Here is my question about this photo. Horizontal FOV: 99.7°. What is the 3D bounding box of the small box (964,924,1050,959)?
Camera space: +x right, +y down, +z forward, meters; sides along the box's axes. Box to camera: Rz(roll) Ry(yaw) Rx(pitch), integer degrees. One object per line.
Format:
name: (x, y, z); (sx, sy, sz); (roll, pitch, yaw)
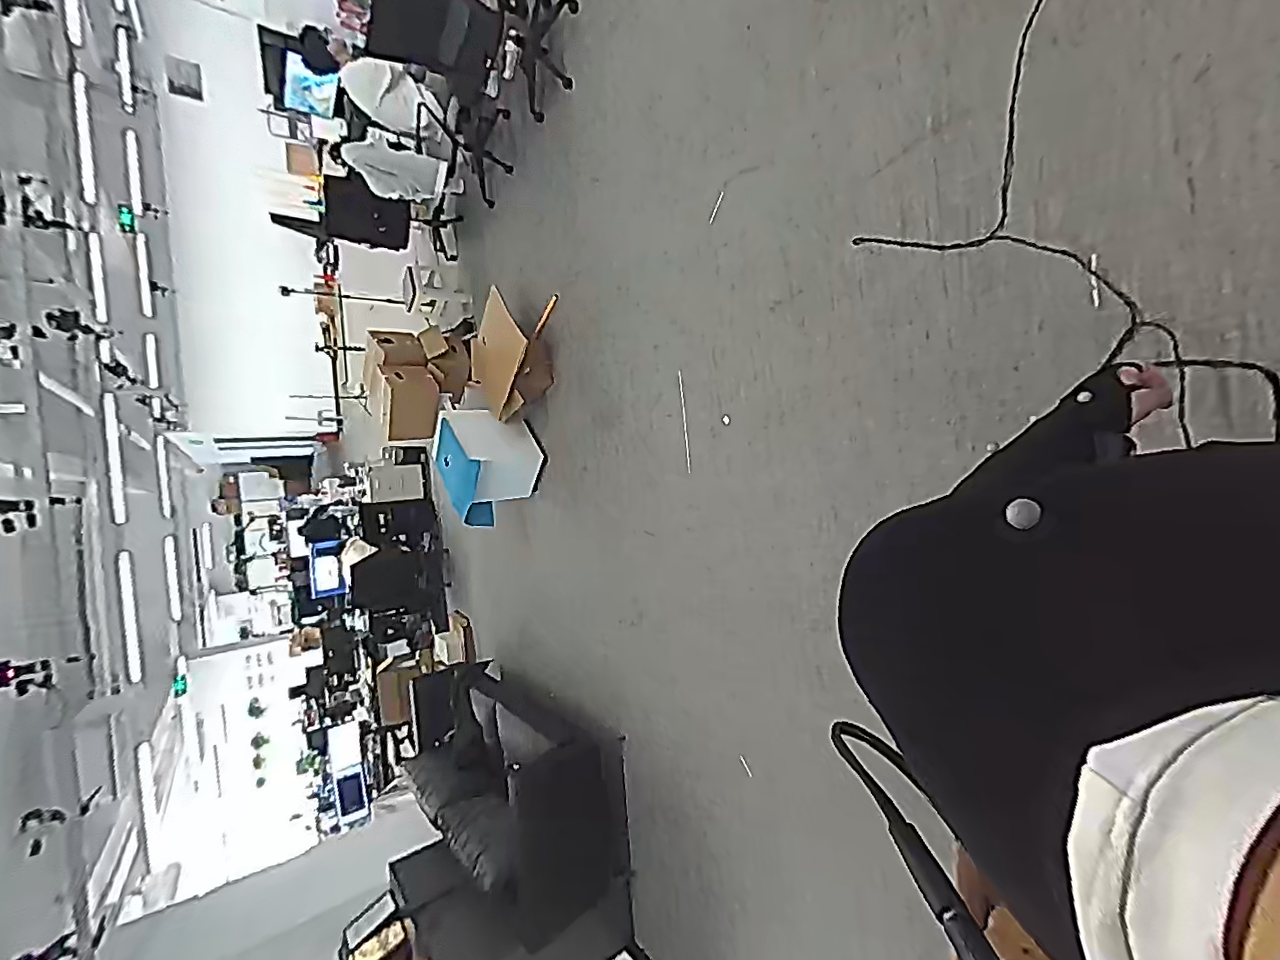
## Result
small box: (0.659, 0.935, 0.933); (0.168, 0.176, 0.179); (6, 98, 54)
